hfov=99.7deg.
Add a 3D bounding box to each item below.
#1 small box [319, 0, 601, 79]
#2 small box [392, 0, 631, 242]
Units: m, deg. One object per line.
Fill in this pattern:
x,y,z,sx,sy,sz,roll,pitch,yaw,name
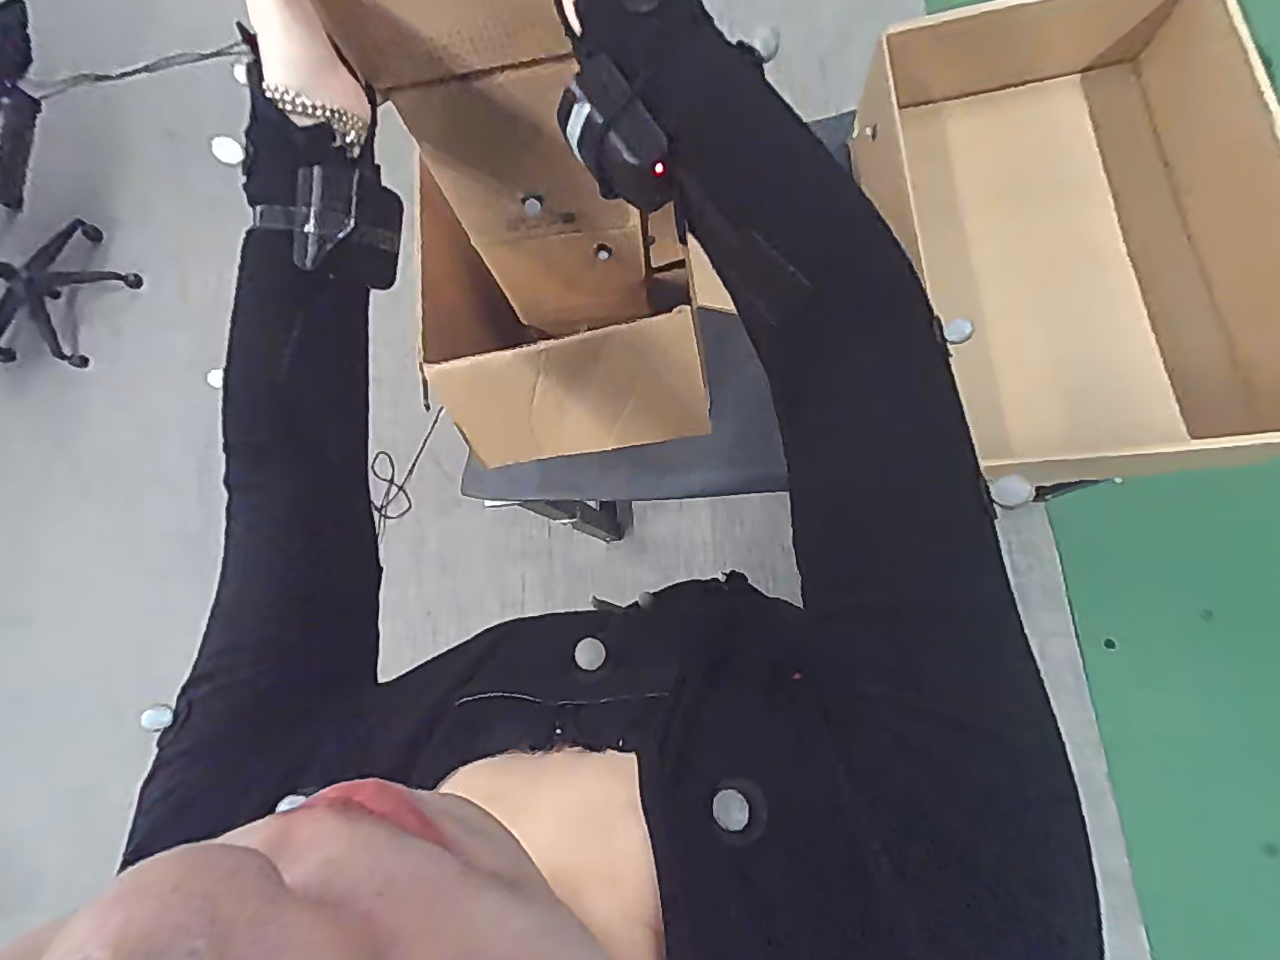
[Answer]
-0.130,-0.387,0.324,0.179,0.176,0.168,-7,79,6,small box
-0.103,-0.353,0.494,0.168,0.176,0.179,-7,76,4,small box
